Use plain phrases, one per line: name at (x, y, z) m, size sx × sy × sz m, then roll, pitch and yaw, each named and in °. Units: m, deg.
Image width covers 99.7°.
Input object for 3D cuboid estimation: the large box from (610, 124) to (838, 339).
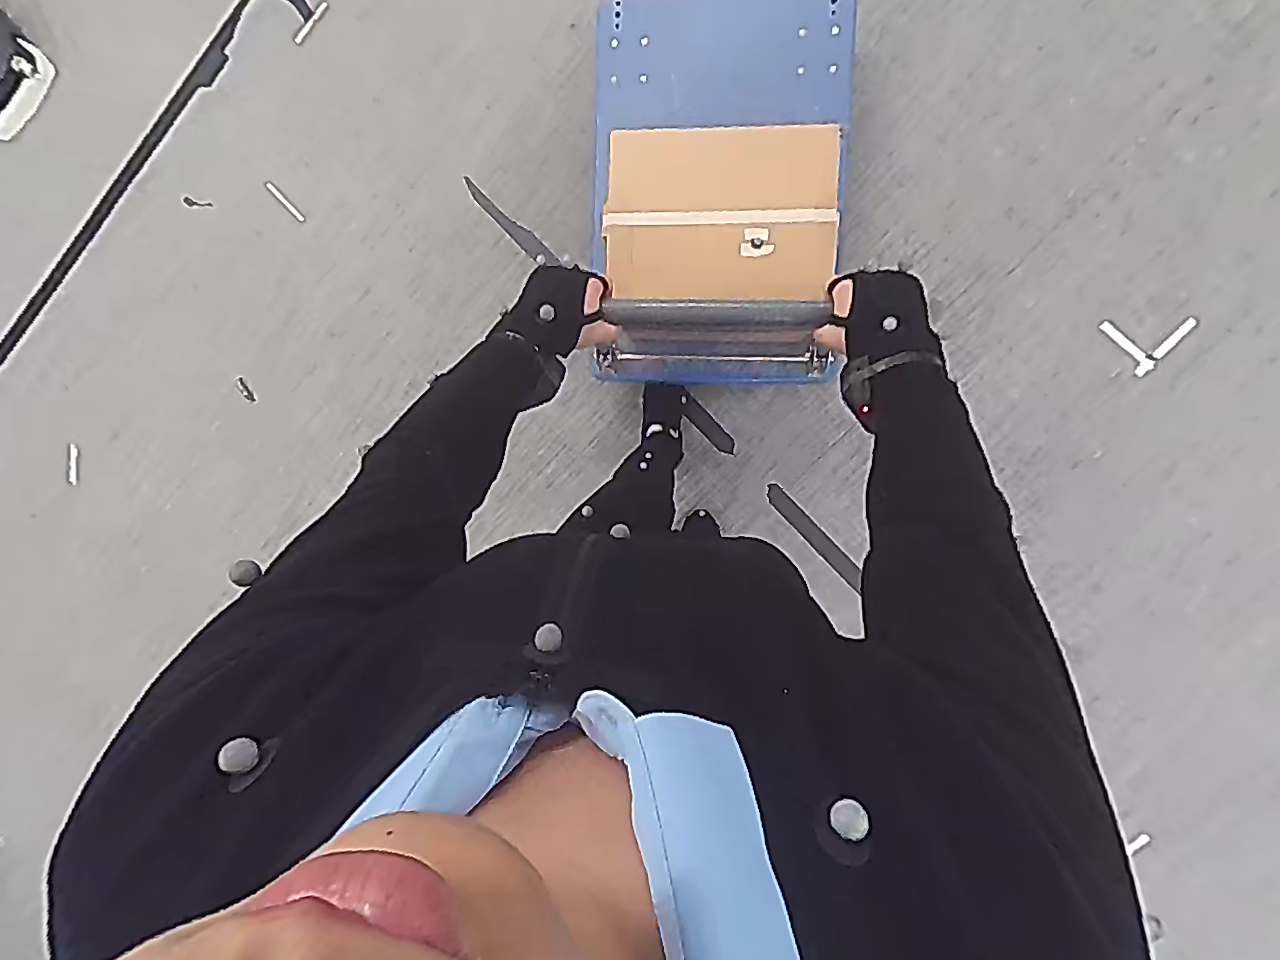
large box at (0.156, -0.475, 1.109) m, size 0.408 × 0.320 × 0.320 m, roll 2°, pitch 95°, yaw 5°
